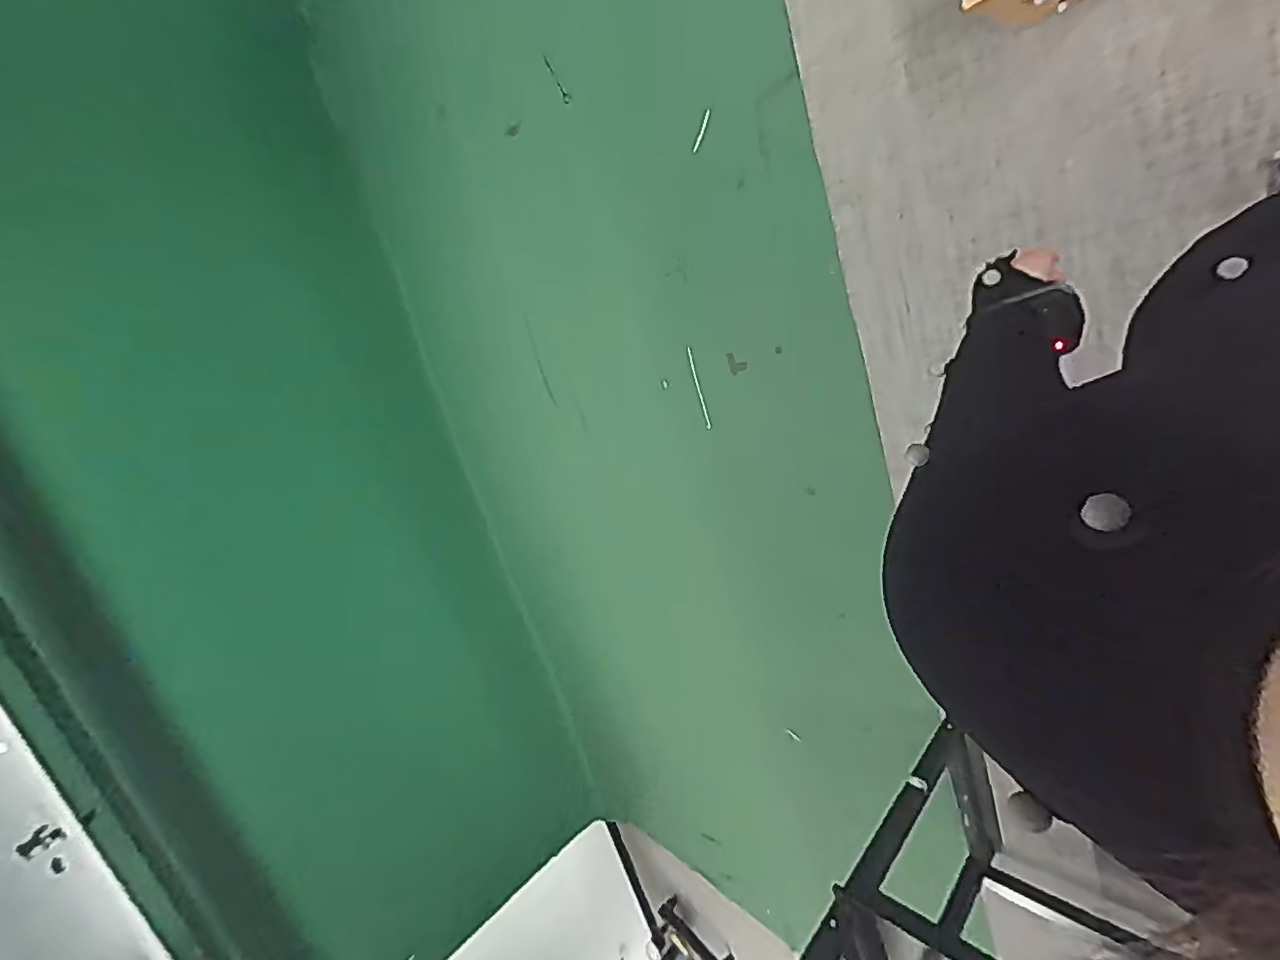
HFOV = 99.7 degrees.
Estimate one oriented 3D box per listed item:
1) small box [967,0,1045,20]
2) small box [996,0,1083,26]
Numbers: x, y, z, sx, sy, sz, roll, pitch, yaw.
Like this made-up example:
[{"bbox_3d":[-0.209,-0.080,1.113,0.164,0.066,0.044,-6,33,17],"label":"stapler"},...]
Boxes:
[{"bbox_3d":[0.623,-0.873,0.848,0.168,0.176,0.179,1,114,52],"label":"small box"},{"bbox_3d":[0.737,-0.936,0.944,0.168,0.176,0.179,5,116,50],"label":"small box"}]
